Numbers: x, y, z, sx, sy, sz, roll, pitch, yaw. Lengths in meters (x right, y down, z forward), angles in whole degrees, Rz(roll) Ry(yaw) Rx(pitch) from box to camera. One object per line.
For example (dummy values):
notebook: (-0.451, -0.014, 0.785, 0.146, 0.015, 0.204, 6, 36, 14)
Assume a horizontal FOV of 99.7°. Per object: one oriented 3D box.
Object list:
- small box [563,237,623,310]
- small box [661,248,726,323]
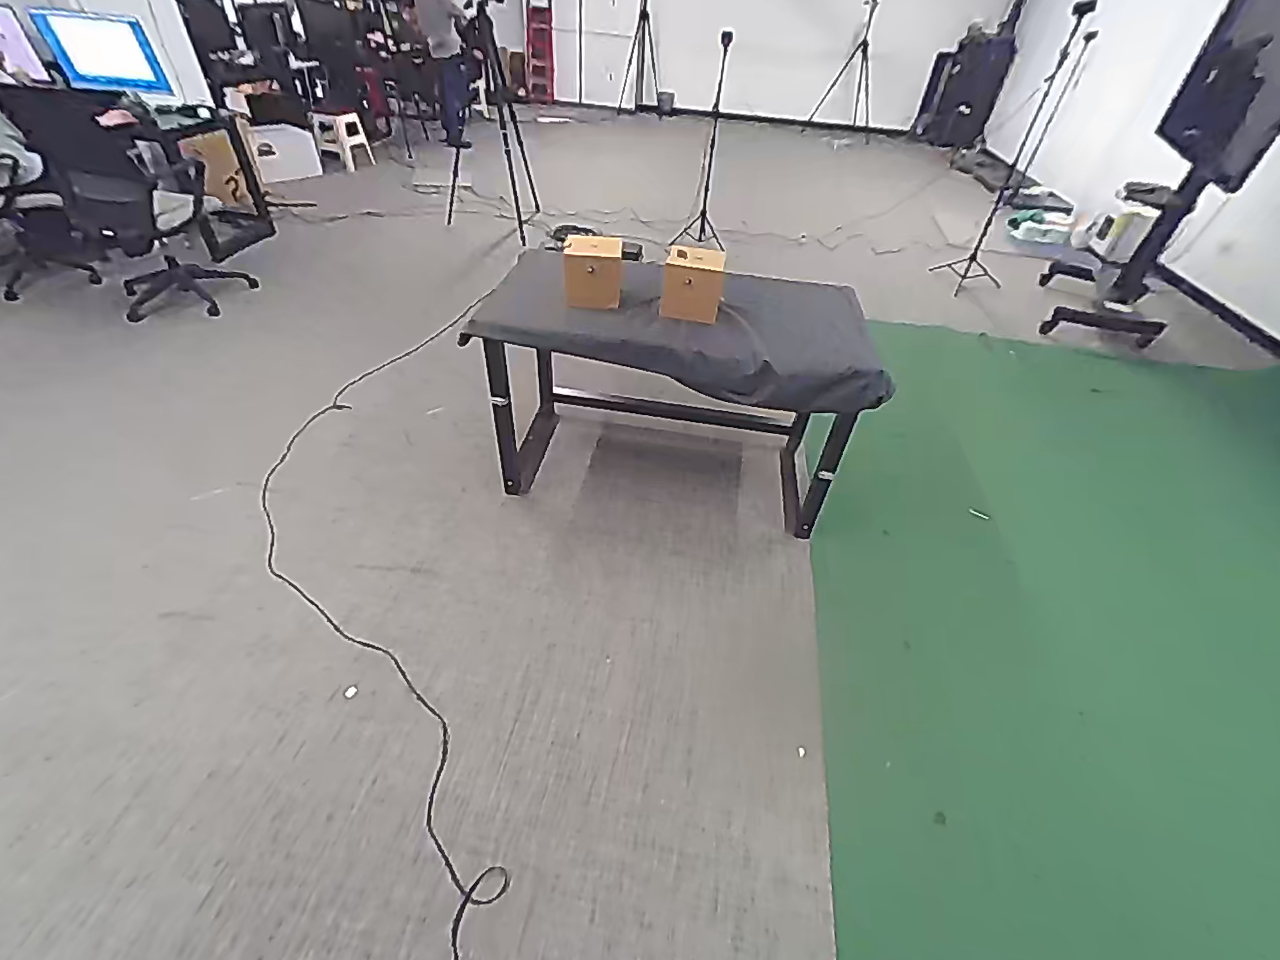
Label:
small box: (-0.147, -0.655, 1.718, 0.179, 0.176, 0.168, 3, 43, -4)
small box: (0.165, -0.608, 1.693, 0.179, 0.176, 0.168, 10, 42, 5)
